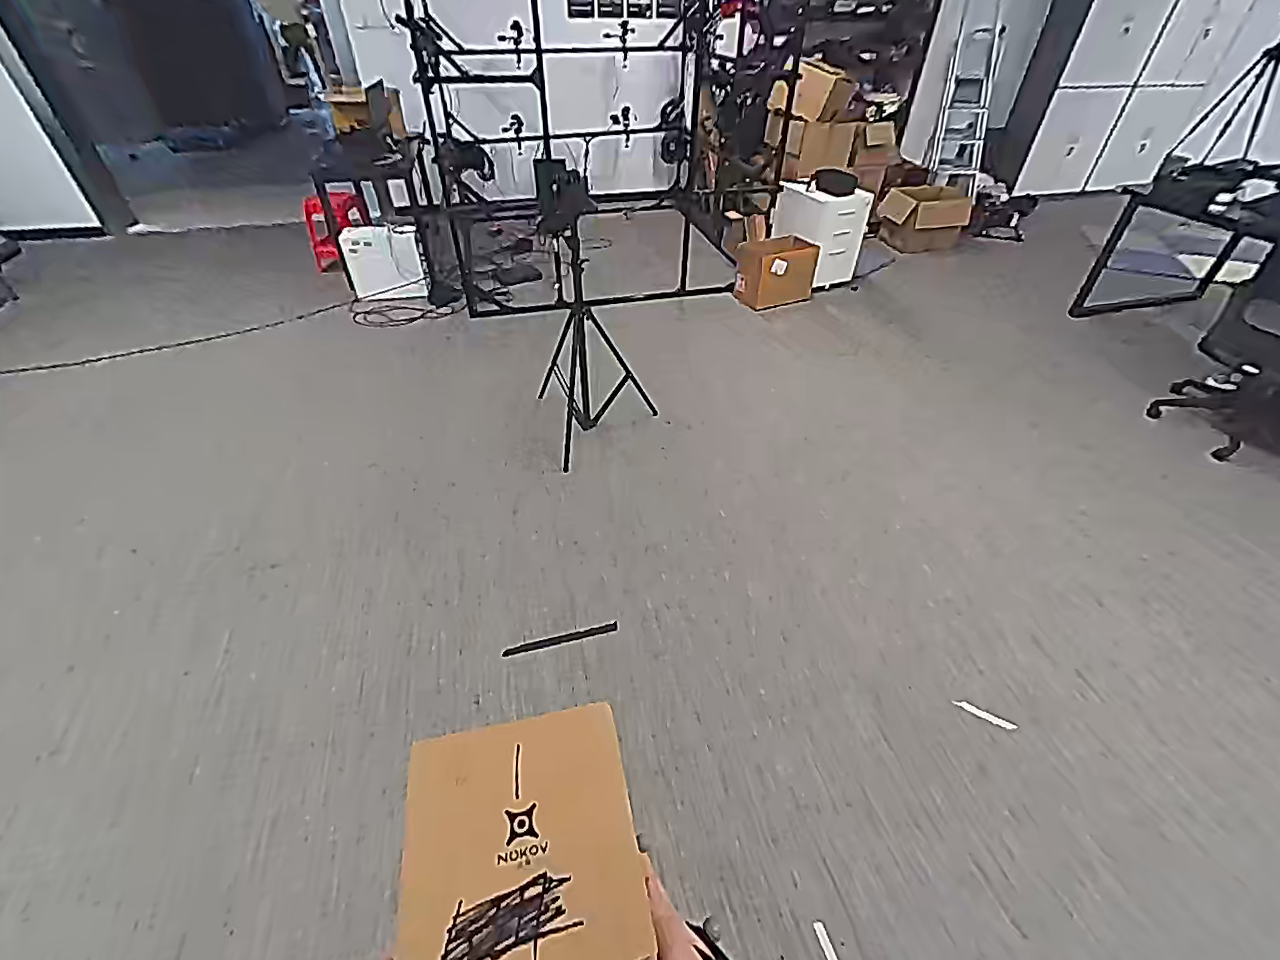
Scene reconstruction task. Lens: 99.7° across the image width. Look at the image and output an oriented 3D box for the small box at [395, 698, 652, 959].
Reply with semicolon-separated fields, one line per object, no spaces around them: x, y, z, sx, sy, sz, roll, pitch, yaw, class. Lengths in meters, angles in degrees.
-0.086;0.316;0.447;0.168;0.176;0.179;-8;42;-10;small box
